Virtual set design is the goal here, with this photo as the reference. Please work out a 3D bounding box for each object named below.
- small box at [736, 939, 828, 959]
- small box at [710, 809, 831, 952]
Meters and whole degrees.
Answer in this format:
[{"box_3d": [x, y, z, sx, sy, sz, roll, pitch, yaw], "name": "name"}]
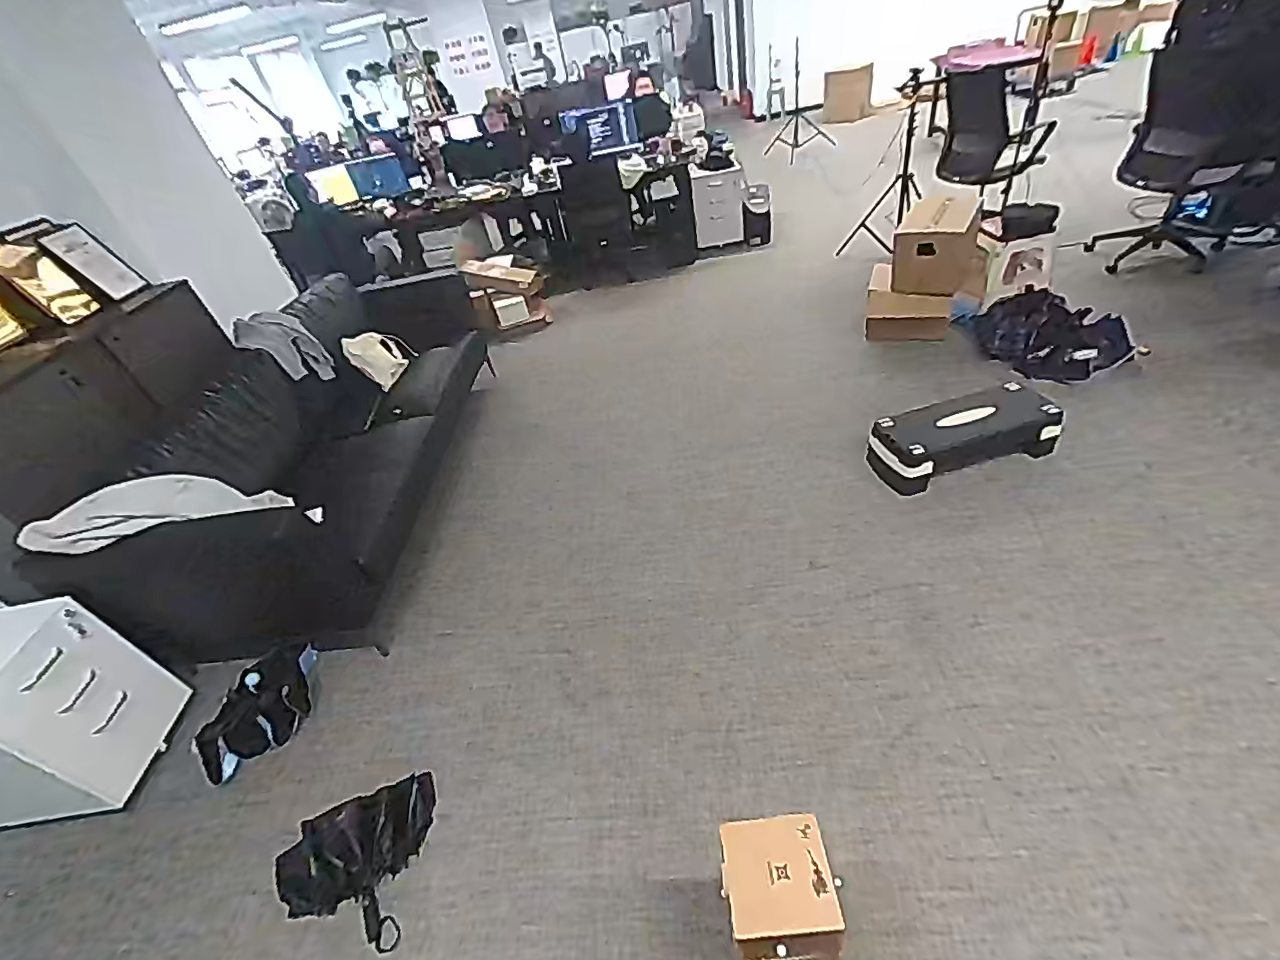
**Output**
[{"box_3d": [0.260, 0.836, 1.066, 0.168, 0.176, 0.179, -11, 40, 4], "name": "small box"}, {"box_3d": [0.231, 0.714, 0.962, 0.179, 0.176, 0.168, -10, 39, 6], "name": "small box"}]
